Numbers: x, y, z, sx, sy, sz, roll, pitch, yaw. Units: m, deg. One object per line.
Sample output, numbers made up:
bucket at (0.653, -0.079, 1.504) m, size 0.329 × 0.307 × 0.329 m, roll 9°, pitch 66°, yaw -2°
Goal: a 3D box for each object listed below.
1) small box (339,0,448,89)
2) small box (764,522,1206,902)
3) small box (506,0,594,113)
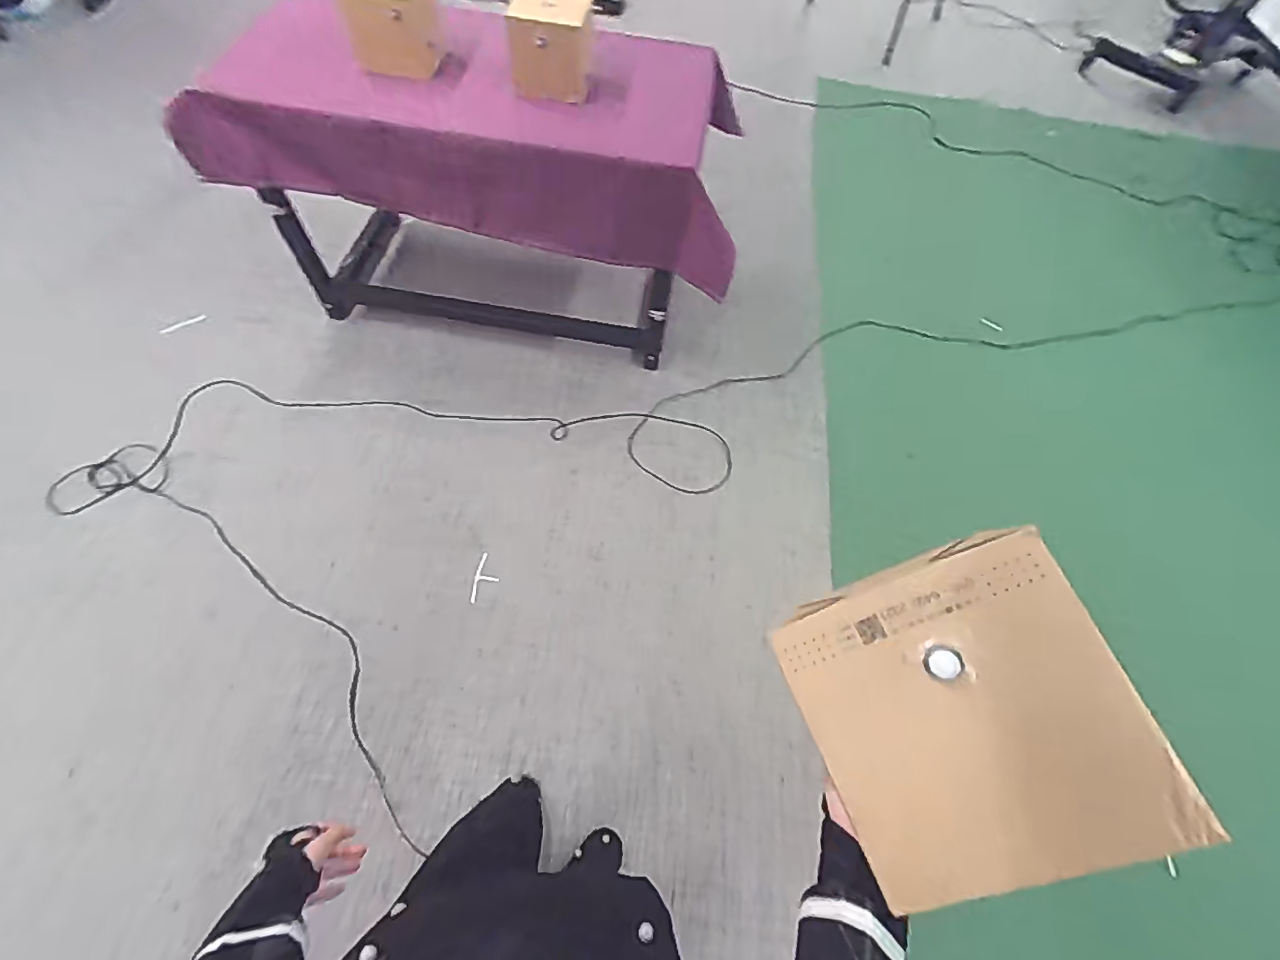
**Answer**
small box at (-0.600, -1.106, 1.340) m, size 0.179 × 0.176 × 0.168 m, roll 8°, pitch 60°, yaw -1°
small box at (0.207, 0.139, 0.383) m, size 0.168 × 0.179 × 0.176 m, roll -30°, pitch 73°, yaw 16°
small box at (-0.213, -1.041, 1.332) m, size 0.179 × 0.176 × 0.168 m, roll 9°, pitch 61°, yaw 0°
